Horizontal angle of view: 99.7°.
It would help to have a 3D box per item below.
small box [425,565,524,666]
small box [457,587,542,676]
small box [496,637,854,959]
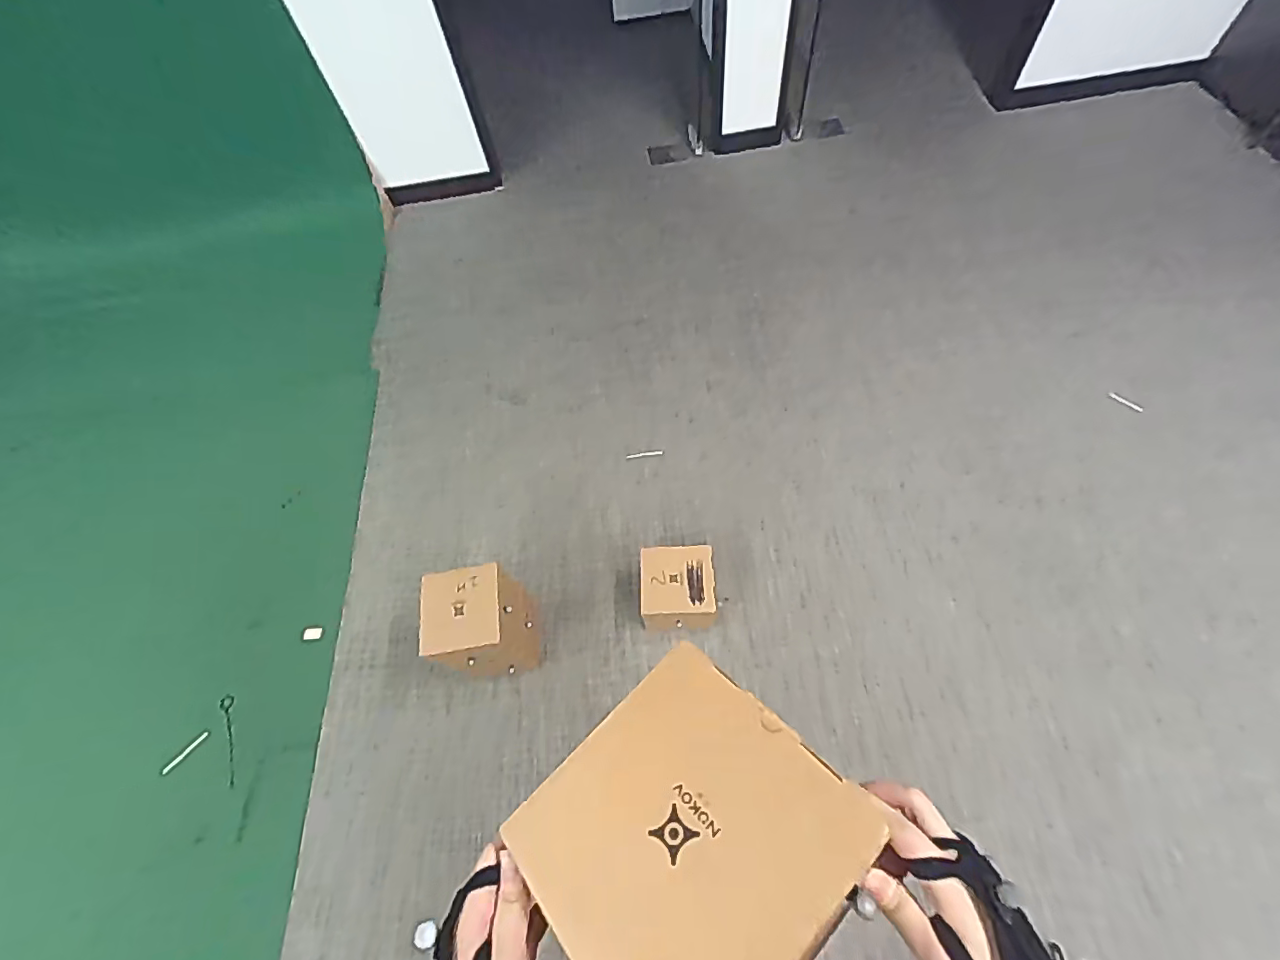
[{"bbox_3d":[-0.361,0.309,1.202,0.168,0.176,0.179,-10,61,0],"label":"small box"},{"bbox_3d":[-0.344,0.383,1.348,0.168,0.176,0.179,-9,61,1],"label":"small box"},{"bbox_3d":[0.037,0.258,0.391,0.179,0.176,0.168,-41,48,-16],"label":"small box"}]
